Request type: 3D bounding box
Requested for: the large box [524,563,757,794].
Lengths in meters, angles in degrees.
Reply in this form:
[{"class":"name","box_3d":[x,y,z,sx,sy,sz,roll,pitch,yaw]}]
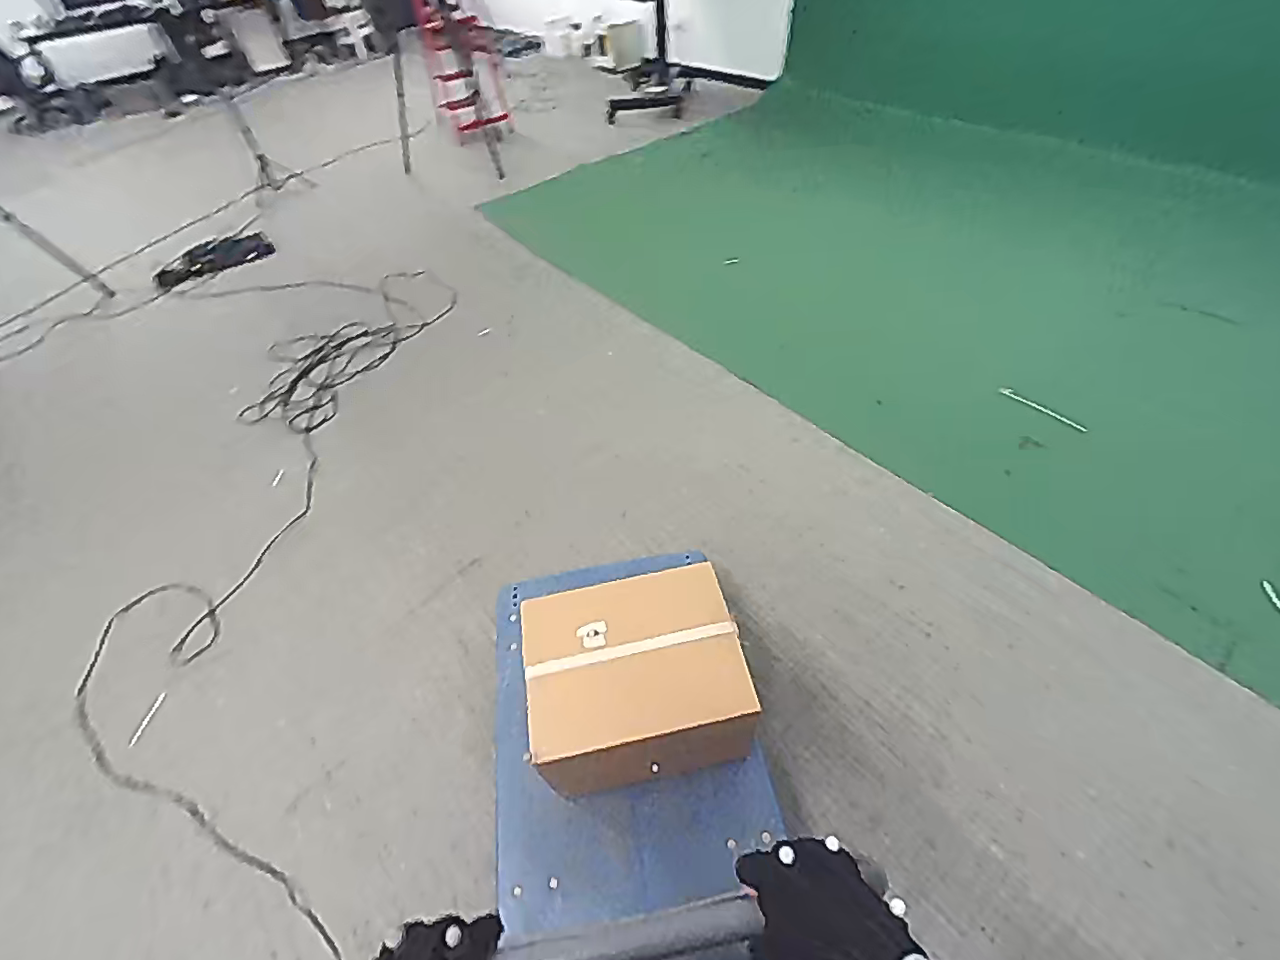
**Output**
[{"class":"large box","box_3d":[0.000,0.424,1.145,0.408,0.320,0.320,-12,49,-3]}]
